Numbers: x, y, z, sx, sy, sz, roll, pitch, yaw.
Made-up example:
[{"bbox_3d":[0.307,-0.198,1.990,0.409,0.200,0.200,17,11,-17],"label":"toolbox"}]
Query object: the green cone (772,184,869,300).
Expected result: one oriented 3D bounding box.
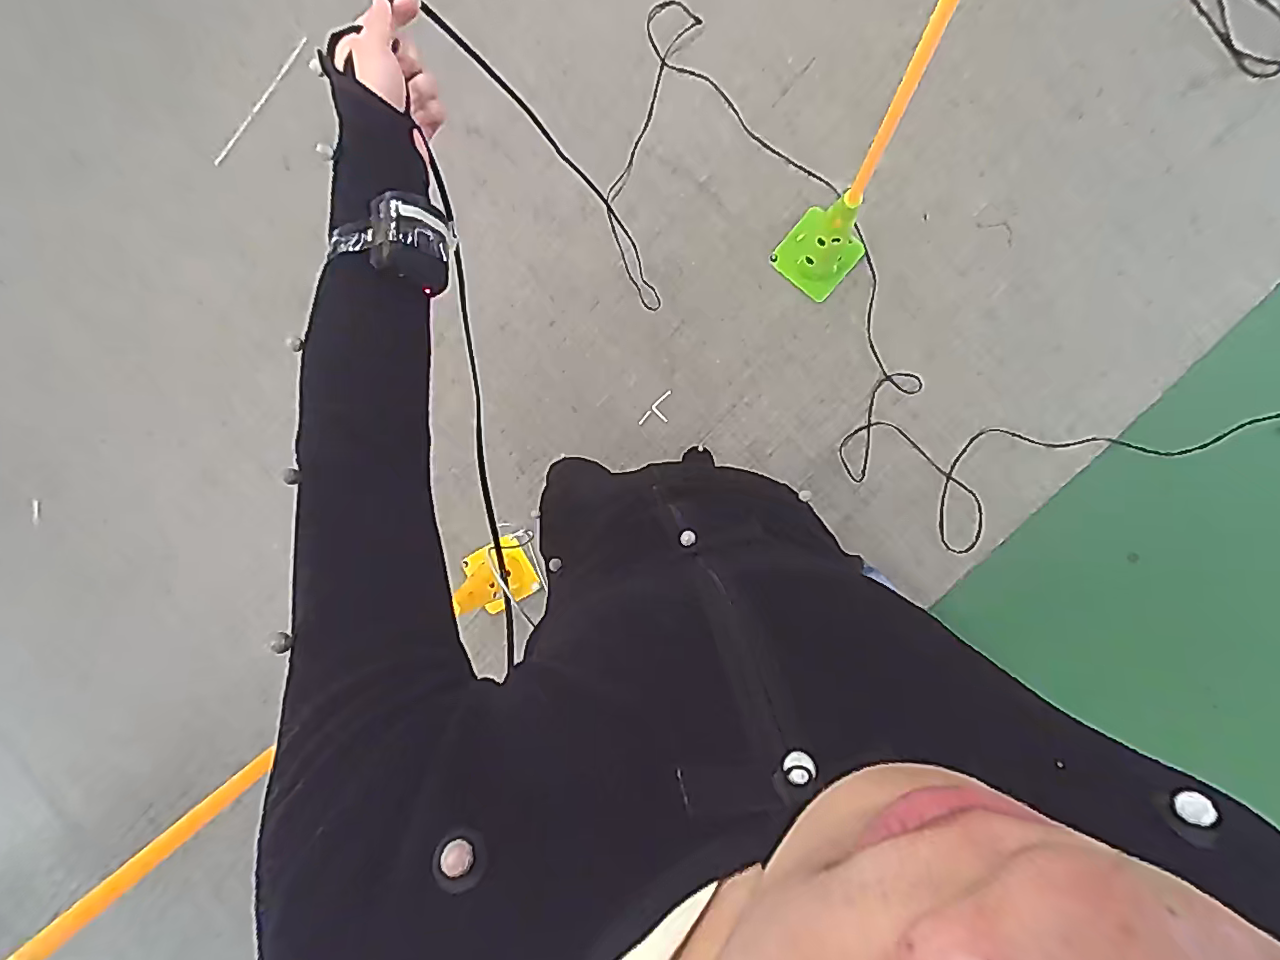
[{"bbox_3d":[0.487,-0.623,1.341,0.200,0.368,0.202,40,96,1],"label":"green cone"}]
